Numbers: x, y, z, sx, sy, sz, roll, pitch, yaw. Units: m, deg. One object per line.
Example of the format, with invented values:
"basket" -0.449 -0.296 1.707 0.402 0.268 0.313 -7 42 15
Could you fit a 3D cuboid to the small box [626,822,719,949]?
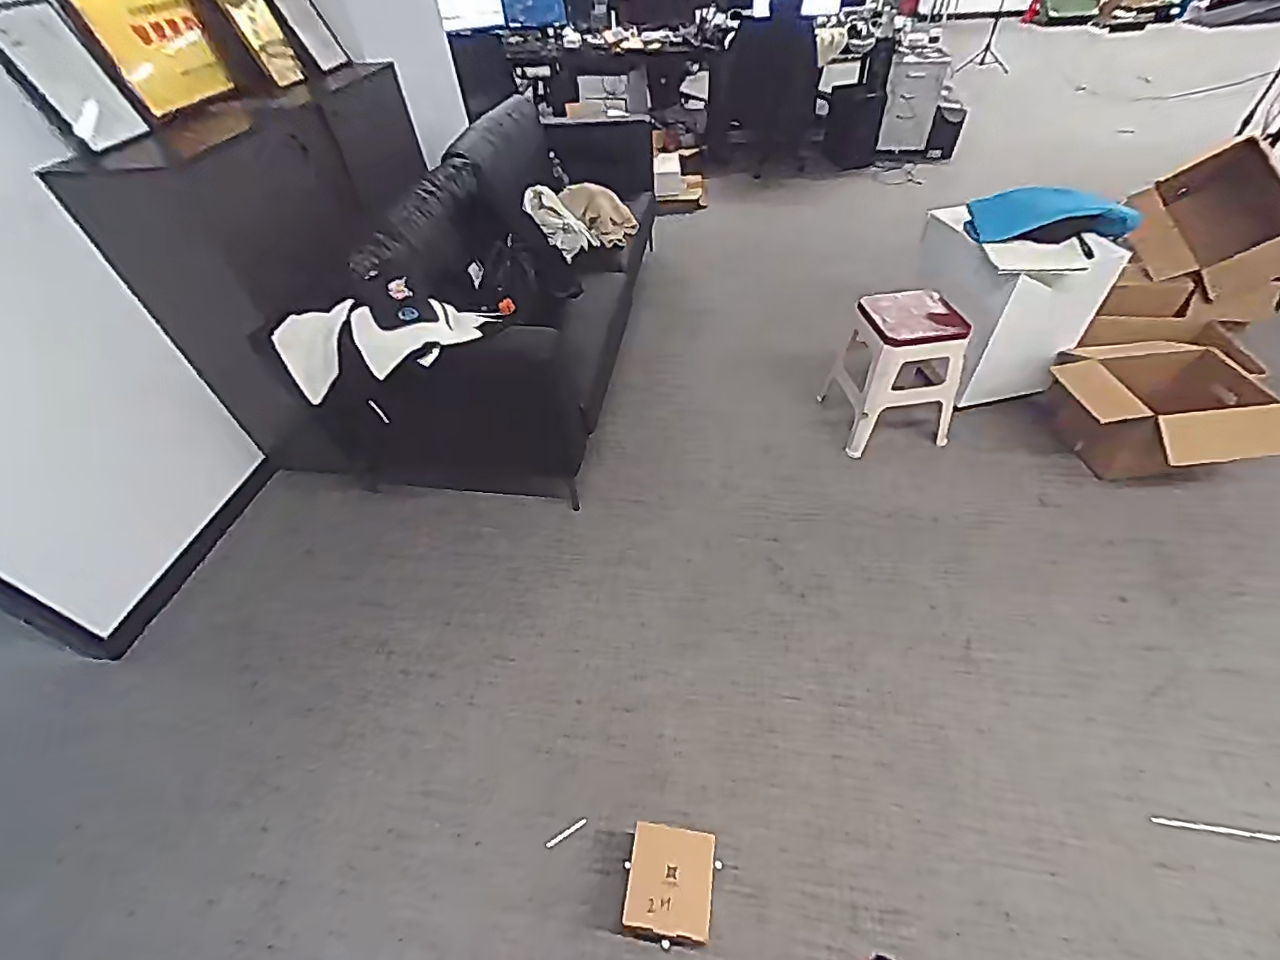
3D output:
"small box" 0.072 0.840 1.120 0.168 0.176 0.179 4 48 10
